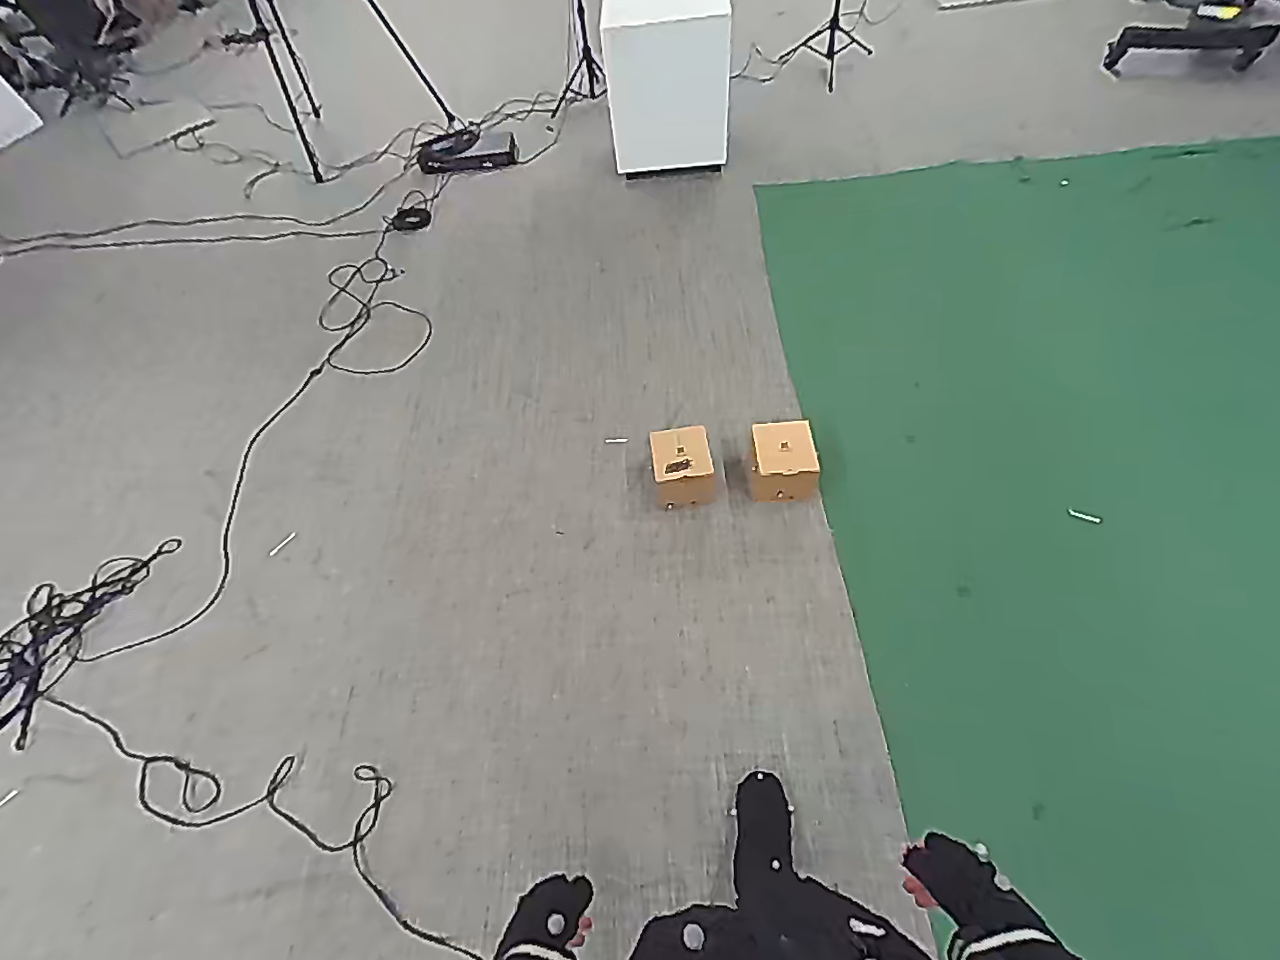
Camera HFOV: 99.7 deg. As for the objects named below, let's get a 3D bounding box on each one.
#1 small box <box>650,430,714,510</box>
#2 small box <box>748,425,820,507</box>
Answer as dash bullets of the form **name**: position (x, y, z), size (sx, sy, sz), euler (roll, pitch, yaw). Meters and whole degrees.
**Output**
- **small box**: position (0.126, -0.022, 1.616), size (0.168, 0.176, 0.179), euler (-8, 56, 1)
- **small box**: position (0.418, -0.038, 1.598), size (0.168, 0.176, 0.179), euler (-5, 57, 4)
